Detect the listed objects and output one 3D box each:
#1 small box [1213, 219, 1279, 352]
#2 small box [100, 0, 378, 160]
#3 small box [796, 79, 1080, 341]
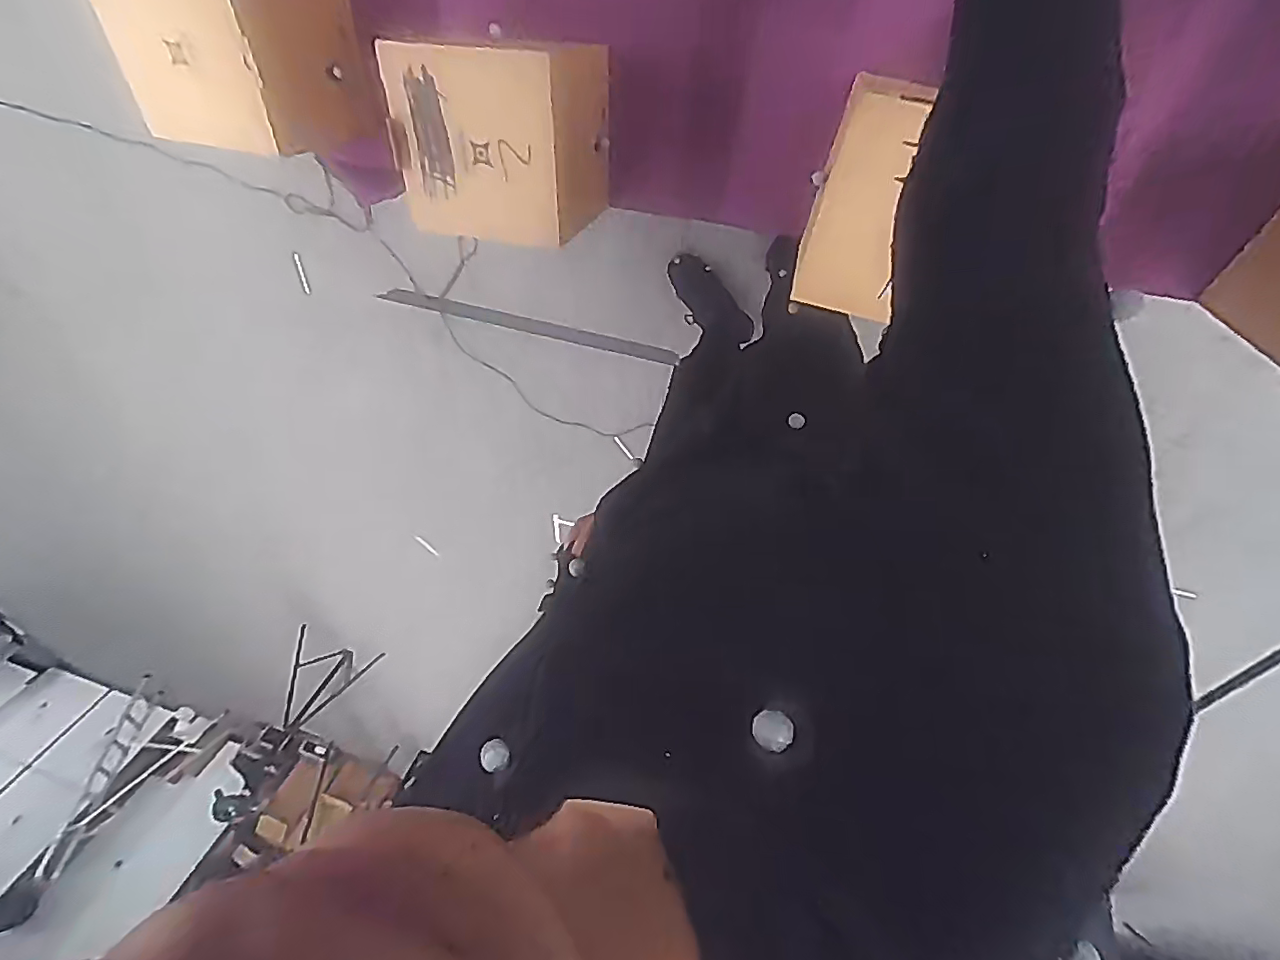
[{"bbox_3d":[0.661,-0.176,0.450,0.168,0.176,0.179,20,133,5],"label":"small box"},{"bbox_3d":[-0.438,-0.479,0.611,0.179,0.176,0.168,13,132,9],"label":"small box"},{"bbox_3d":[0.263,-0.268,0.526,0.168,0.176,0.179,17,133,7],"label":"small box"}]
